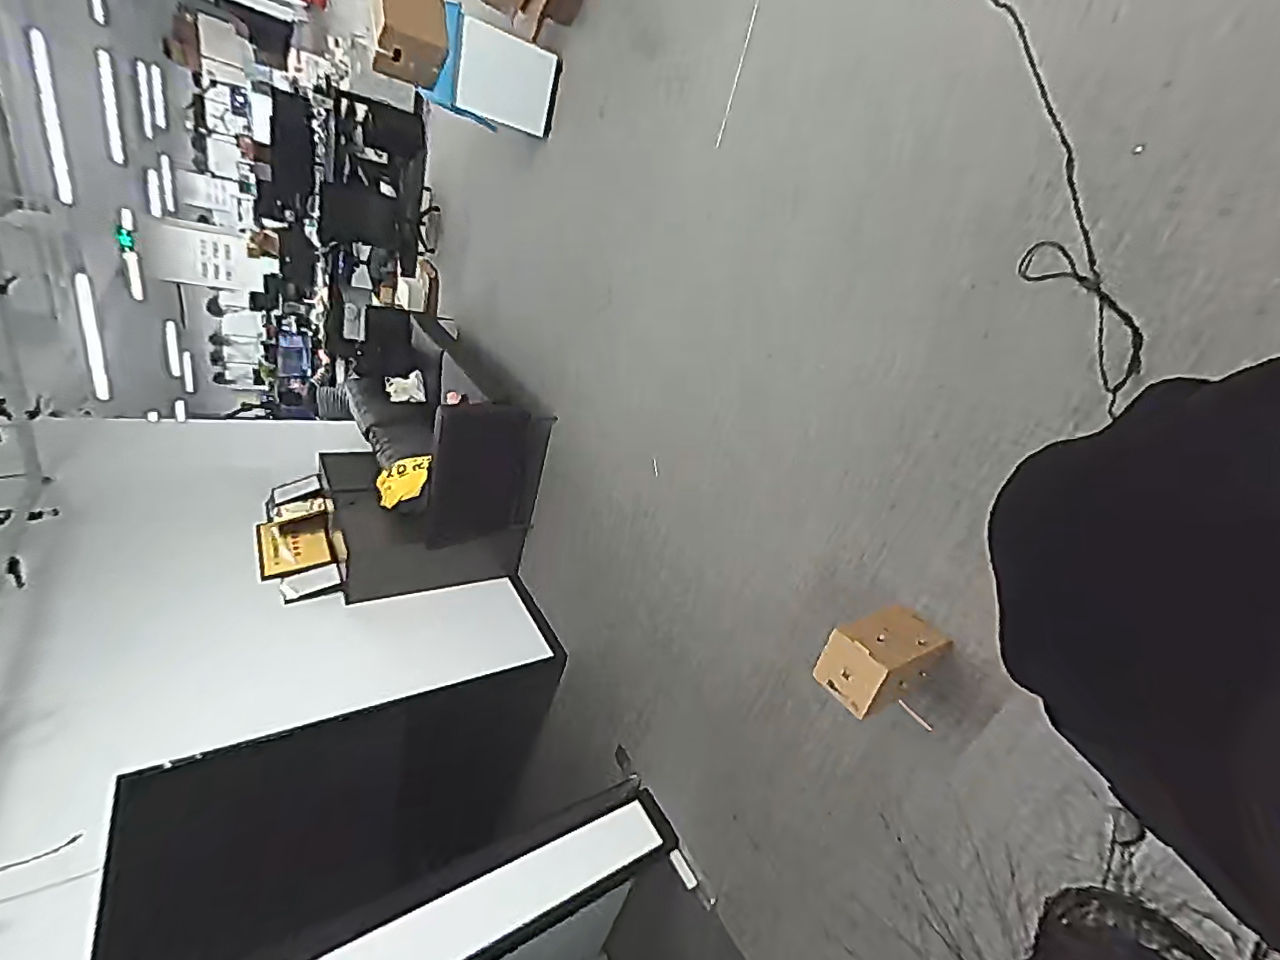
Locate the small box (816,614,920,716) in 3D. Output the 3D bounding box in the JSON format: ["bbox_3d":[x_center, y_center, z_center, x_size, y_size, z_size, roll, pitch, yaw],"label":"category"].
[{"bbox_3d":[0.608,0.481,1.434,0.168,0.176,0.179,41,125,45],"label":"small box"}]
